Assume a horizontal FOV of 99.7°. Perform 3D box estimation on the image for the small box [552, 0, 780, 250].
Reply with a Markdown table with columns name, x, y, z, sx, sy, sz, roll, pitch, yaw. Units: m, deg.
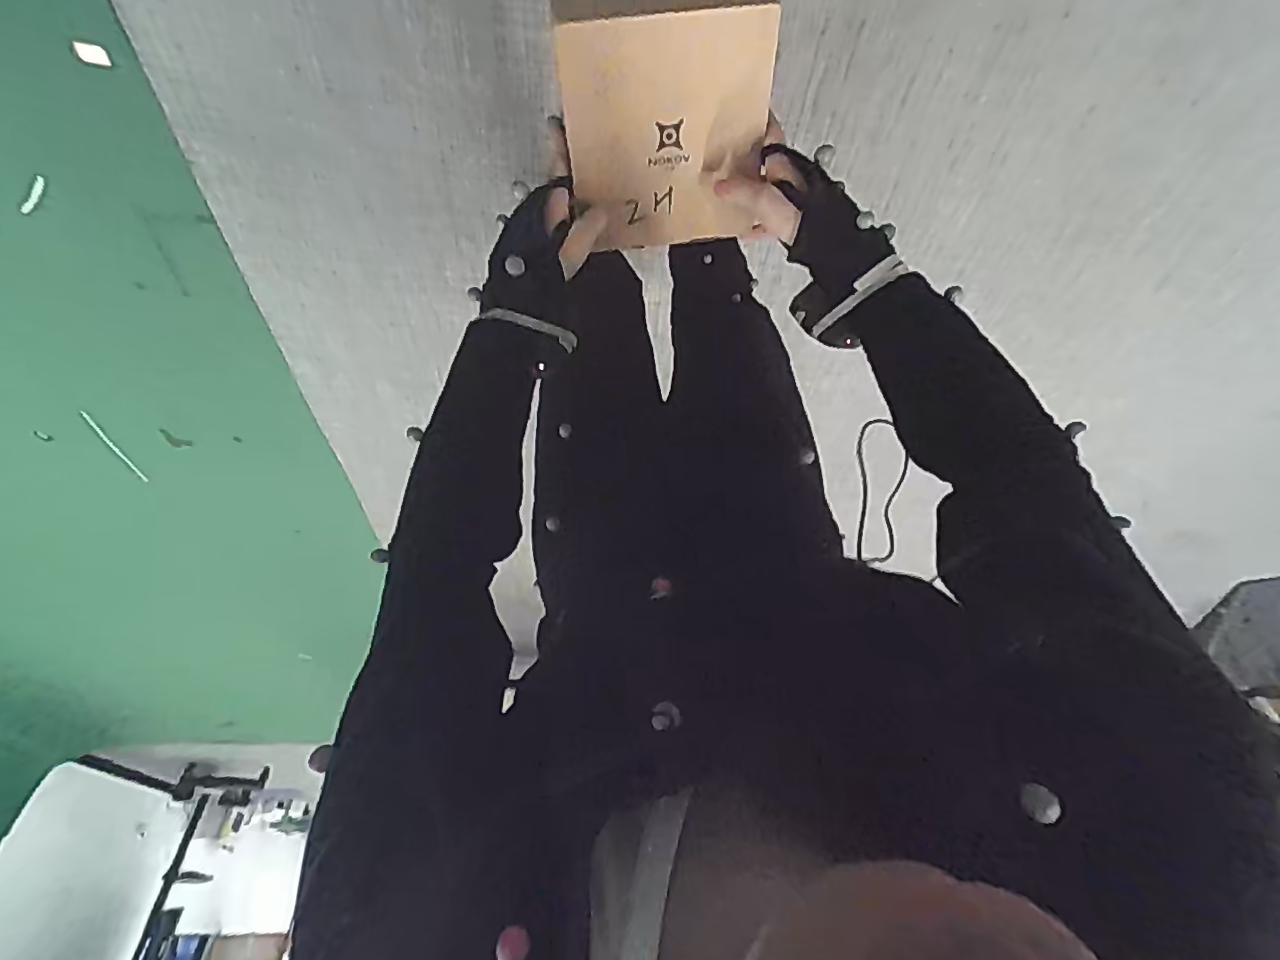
| name | x | y | z | sx | sy | sz | roll | pitch | yaw |
| --- | --- | --- | --- | --- | --- | --- | --- | --- | --- |
| small box | 0.014 | -0.344 | 0.498 | 0.168 | 0.176 | 0.179 | -7 | 145 | -2 |
